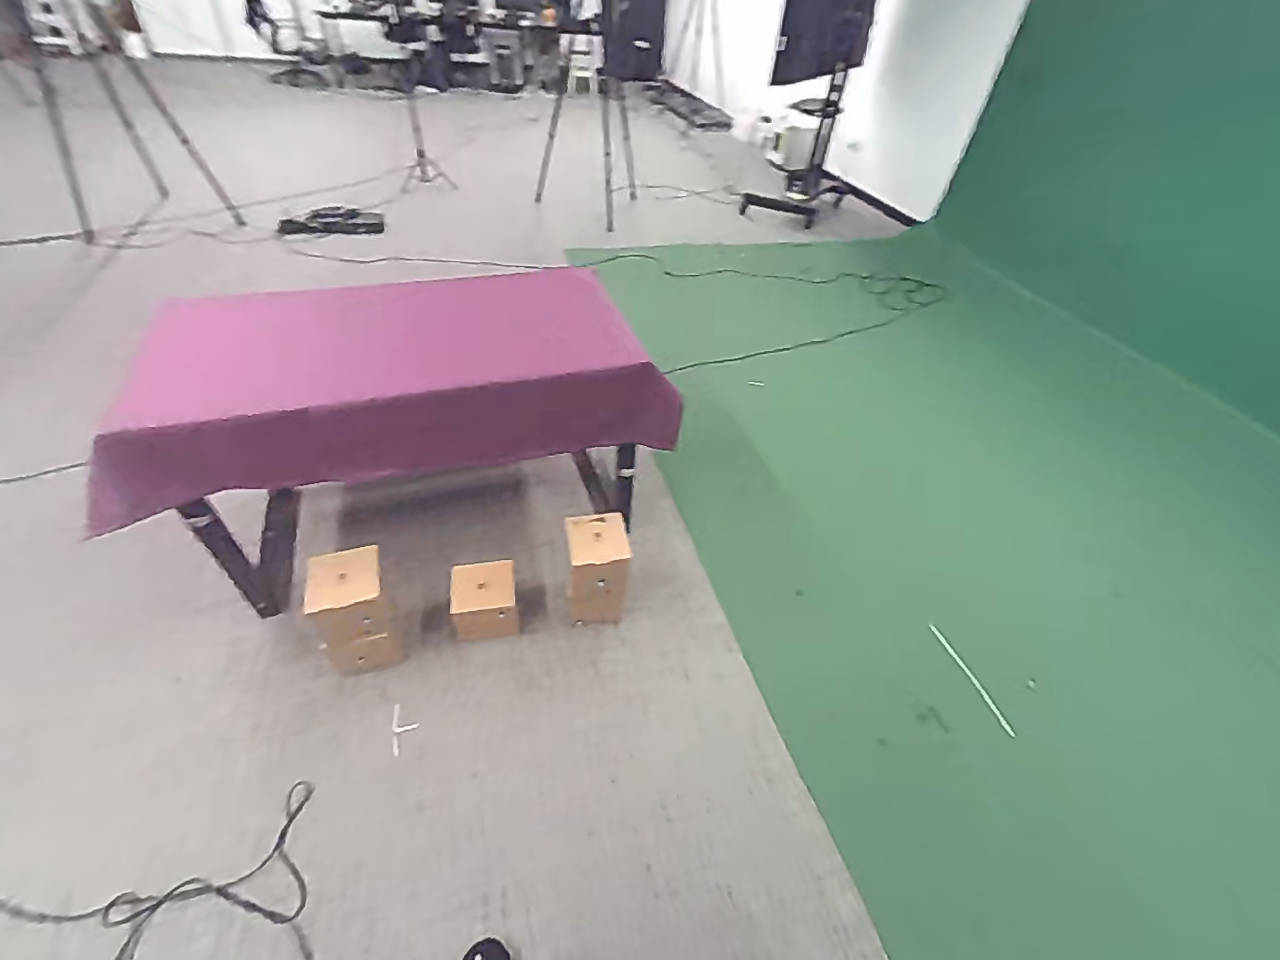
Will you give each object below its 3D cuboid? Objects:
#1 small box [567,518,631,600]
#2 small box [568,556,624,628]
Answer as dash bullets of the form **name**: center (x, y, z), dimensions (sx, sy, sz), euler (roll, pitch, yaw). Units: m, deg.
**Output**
- **small box**: center (-0.122, 0.237, 1.576), dimensions (0.168, 0.176, 0.179), euler (-5, 46, -11)
- **small box**: center (-0.140, 0.351, 1.693), dimensions (0.168, 0.176, 0.179), euler (-2, 43, -8)
